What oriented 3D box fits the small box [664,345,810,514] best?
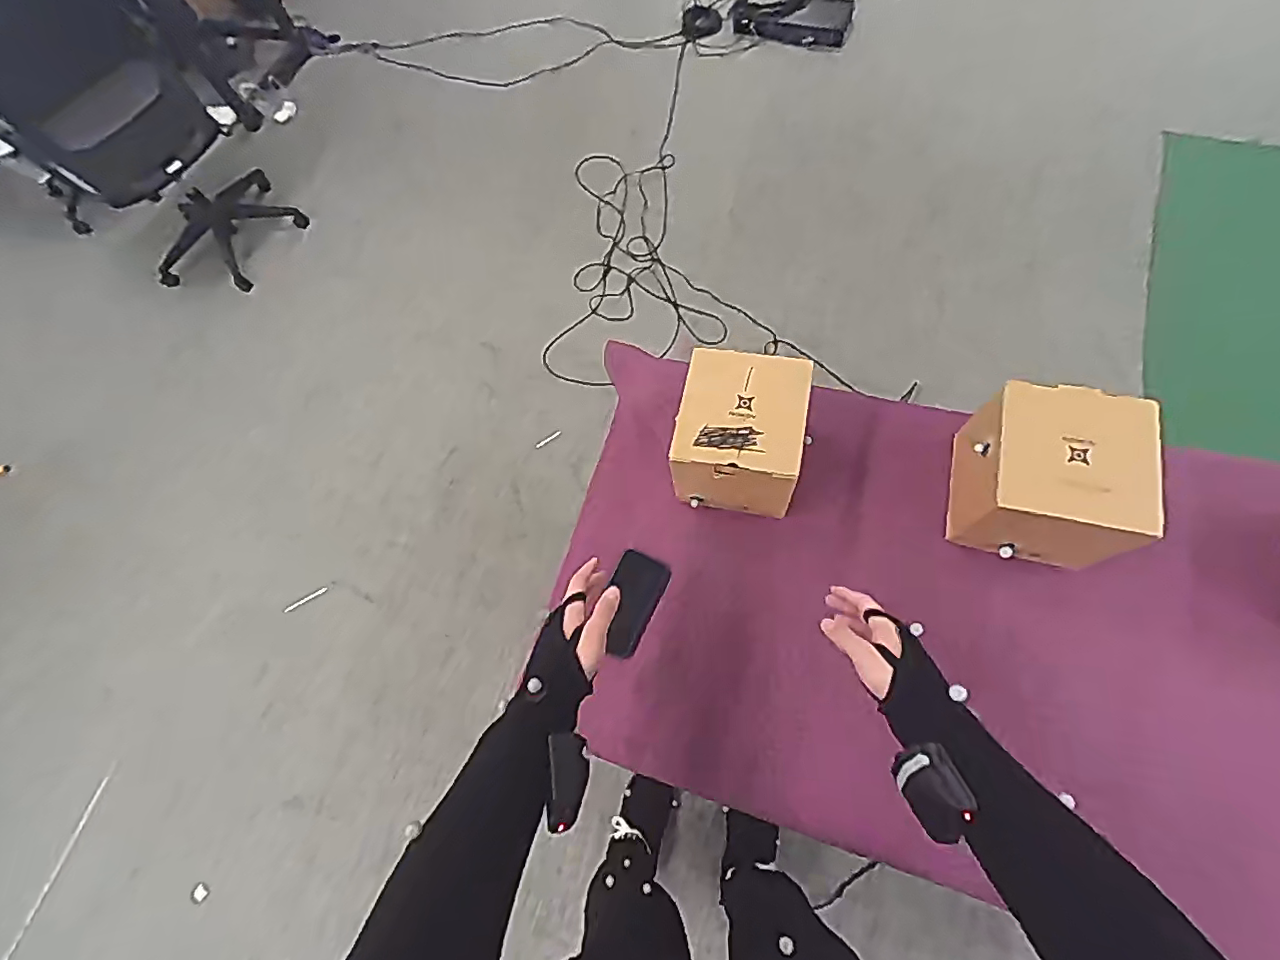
[{"bbox_3d":[0.139,-0.065,0.775,0.168,0.176,0.179,9,69,12],"label":"small box"}]

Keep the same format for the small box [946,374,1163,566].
[{"bbox_3d":[0.515,-0.007,0.696,0.168,0.176,0.179,12,71,14],"label":"small box"}]
